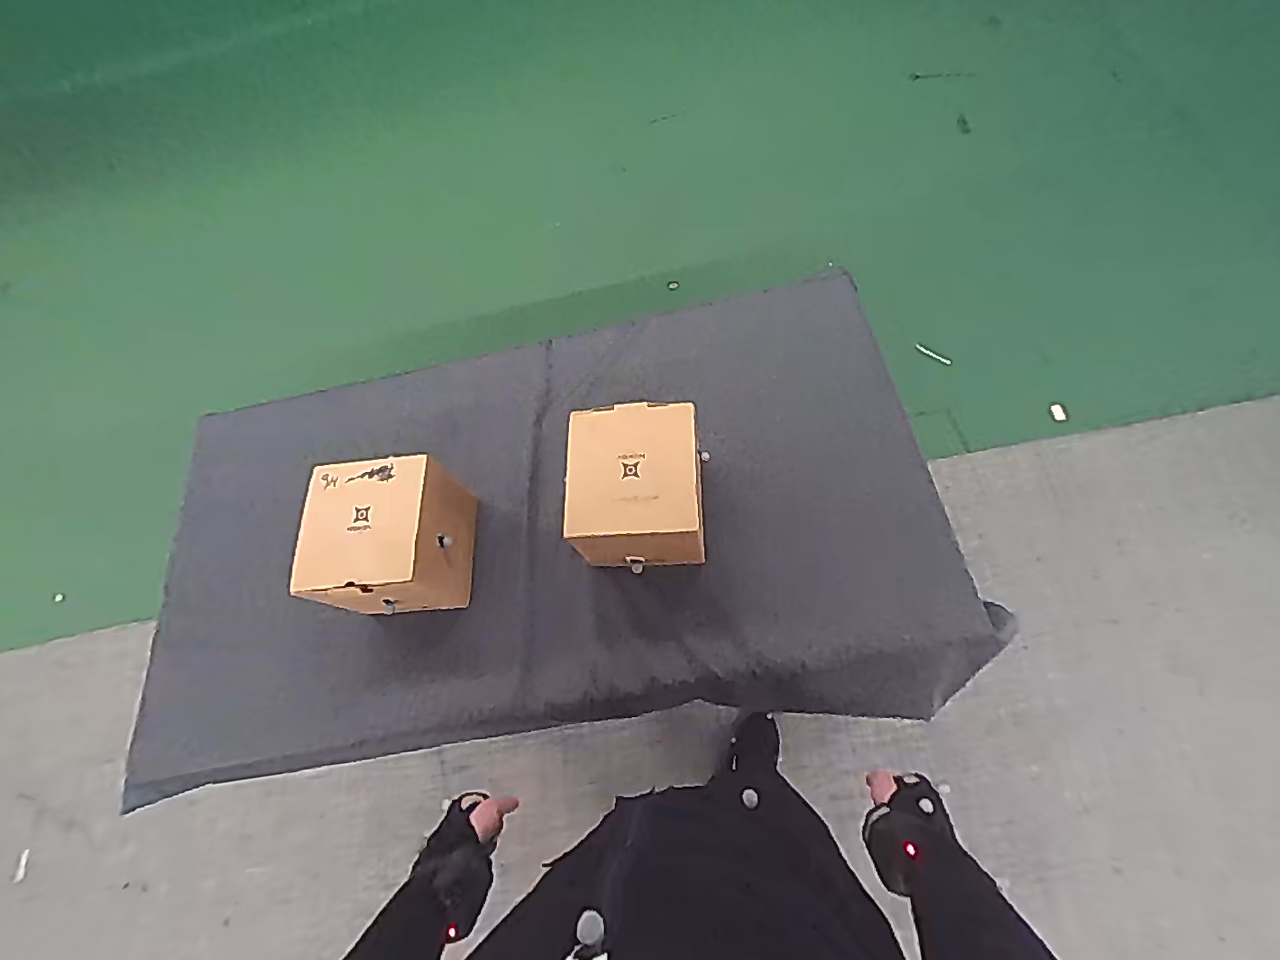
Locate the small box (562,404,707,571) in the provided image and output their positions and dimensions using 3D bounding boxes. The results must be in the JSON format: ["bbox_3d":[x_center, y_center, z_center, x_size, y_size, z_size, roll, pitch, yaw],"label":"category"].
[{"bbox_3d":[0.003,0.017,0.733,0.168,0.176,0.179,-2,67,10],"label":"small box"}]

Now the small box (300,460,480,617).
[{"bbox_3d":[-0.341,0.094,0.774,0.168,0.176,0.179,-9,65,6],"label":"small box"}]
